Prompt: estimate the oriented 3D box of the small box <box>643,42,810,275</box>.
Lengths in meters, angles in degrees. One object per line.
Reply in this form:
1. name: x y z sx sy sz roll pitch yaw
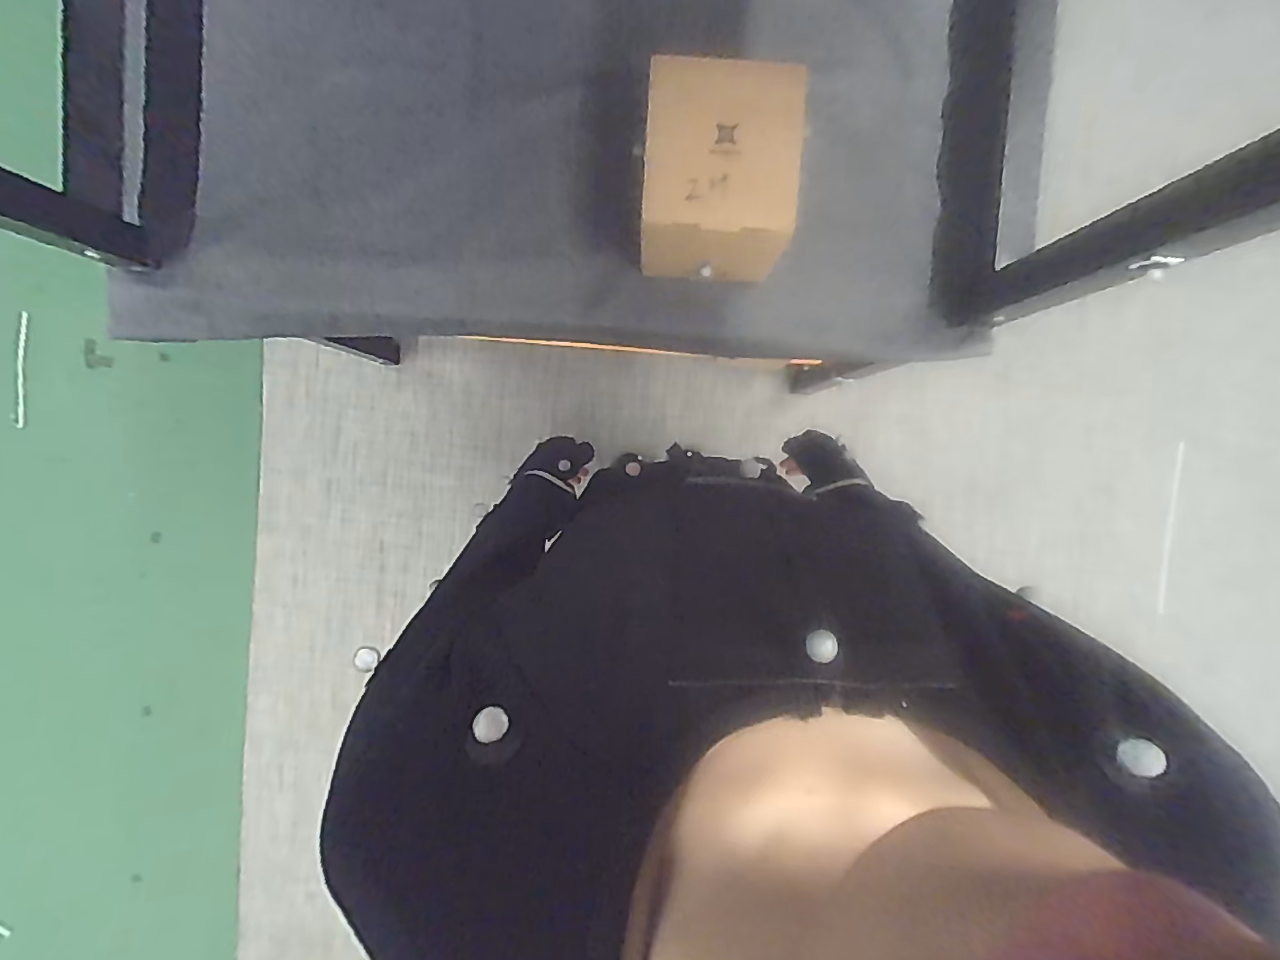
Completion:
1. small box: 0.091 -0.366 0.644 0.168 0.176 0.179 4 92 1
